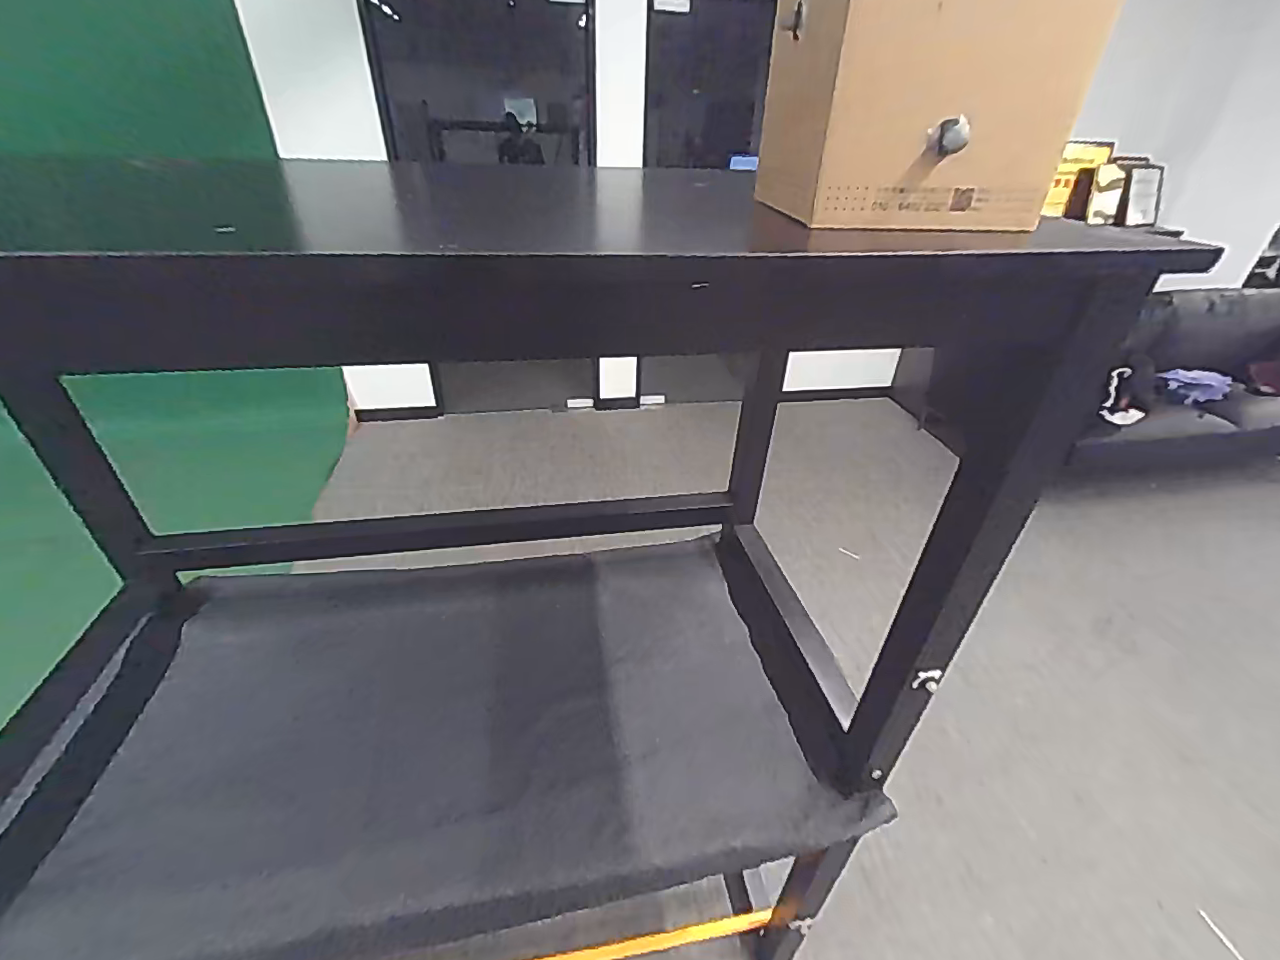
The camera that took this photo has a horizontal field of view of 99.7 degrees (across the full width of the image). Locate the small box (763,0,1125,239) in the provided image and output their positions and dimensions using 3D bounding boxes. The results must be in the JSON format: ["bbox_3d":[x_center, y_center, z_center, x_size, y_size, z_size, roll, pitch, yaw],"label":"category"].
[{"bbox_3d":[0.201,-0.291,0.411,0.168,0.176,0.179,0,33,-3],"label":"small box"}]
